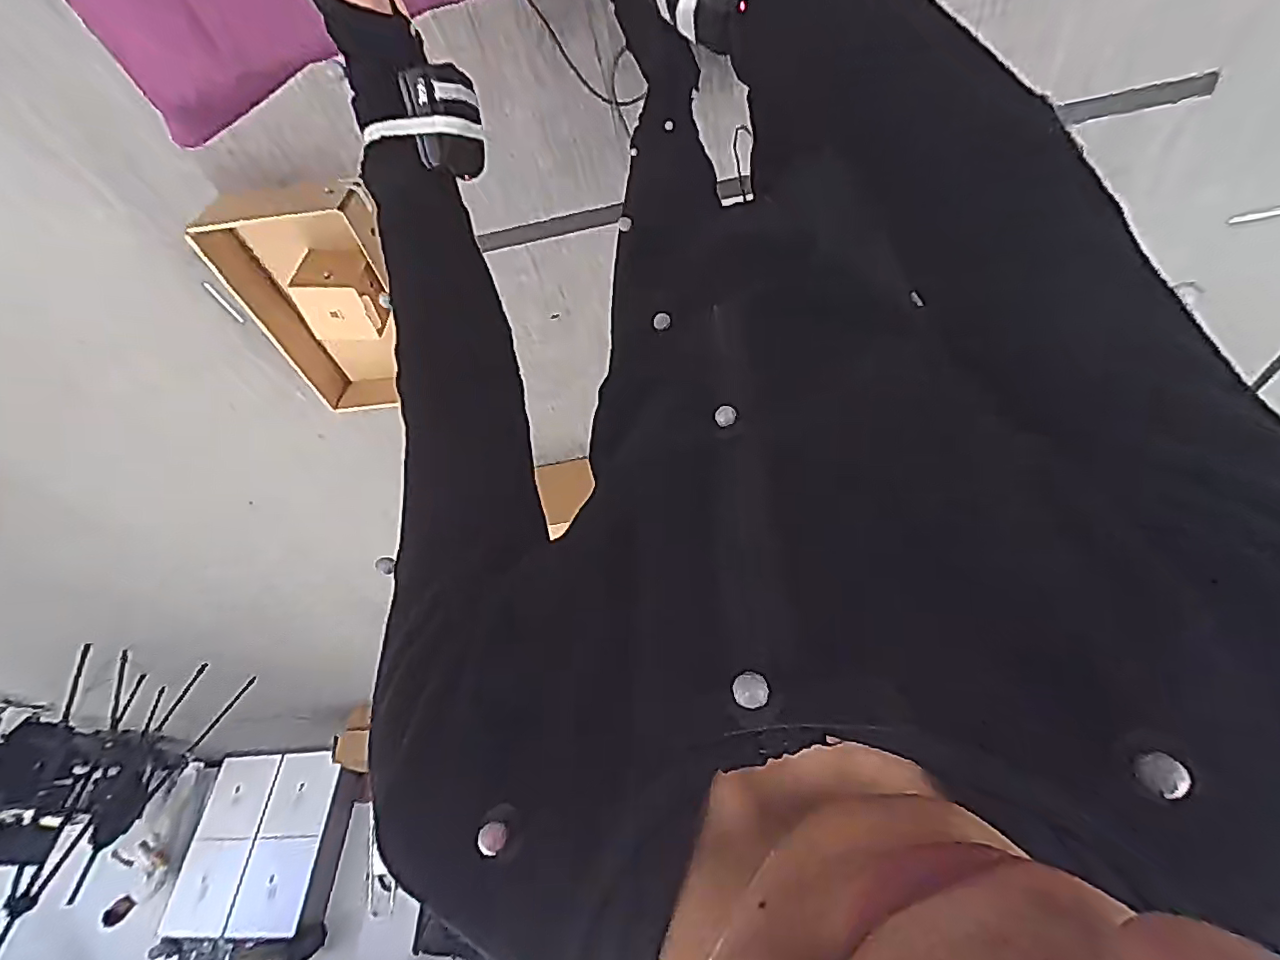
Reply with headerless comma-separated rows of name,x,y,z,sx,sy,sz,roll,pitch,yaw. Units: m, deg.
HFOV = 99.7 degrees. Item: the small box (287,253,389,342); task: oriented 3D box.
small box,-0.792,-0.489,1.447,0.179,0.176,0.168,-1,144,-2
